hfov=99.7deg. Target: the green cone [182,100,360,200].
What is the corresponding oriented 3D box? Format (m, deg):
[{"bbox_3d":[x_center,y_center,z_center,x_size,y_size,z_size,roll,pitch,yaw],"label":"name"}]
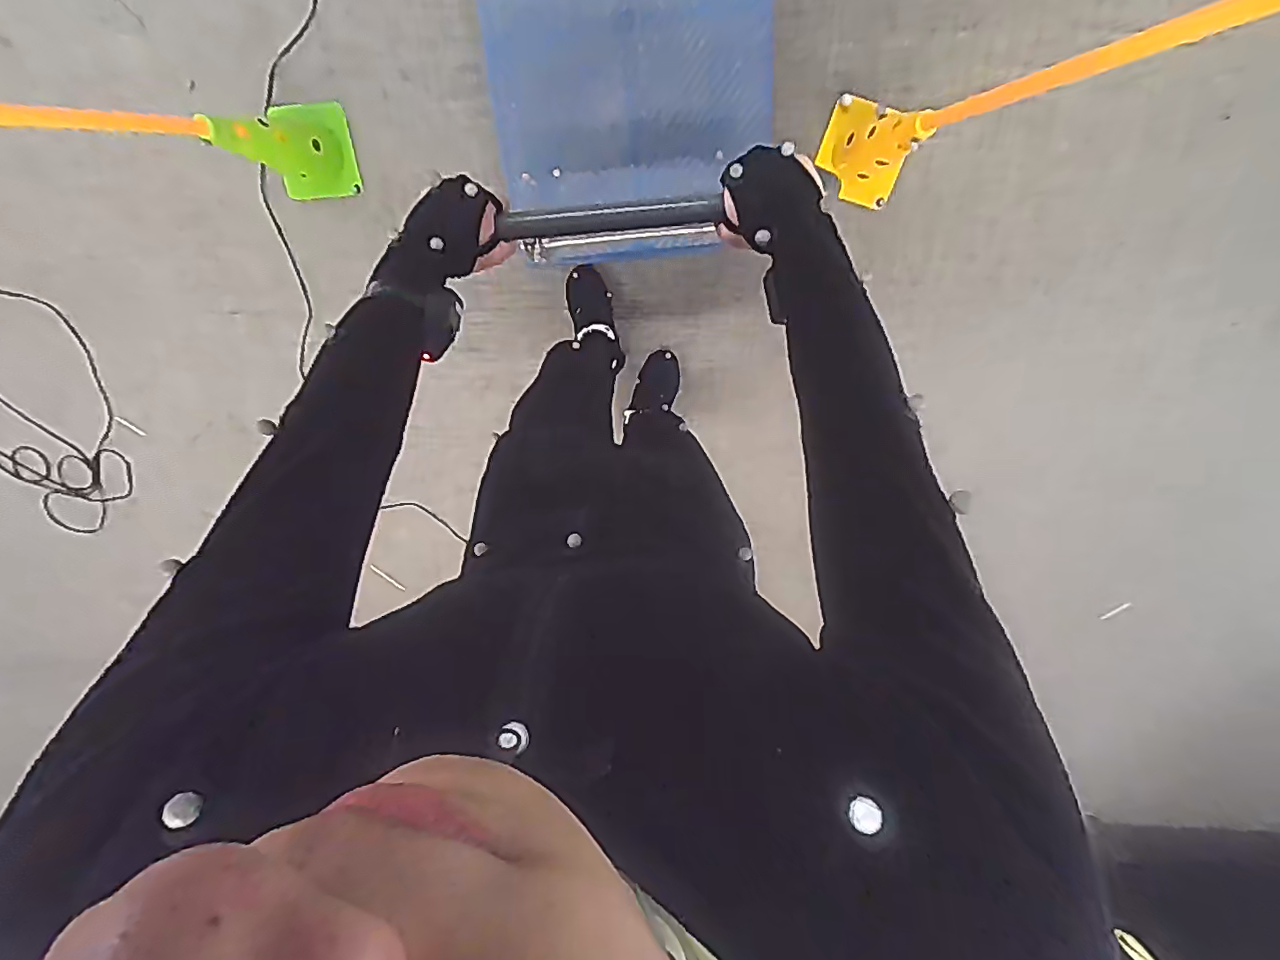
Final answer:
[{"bbox_3d":[-0.821,-0.741,1.176,0.202,0.368,0.200,-3,114,7],"label":"green cone"}]
